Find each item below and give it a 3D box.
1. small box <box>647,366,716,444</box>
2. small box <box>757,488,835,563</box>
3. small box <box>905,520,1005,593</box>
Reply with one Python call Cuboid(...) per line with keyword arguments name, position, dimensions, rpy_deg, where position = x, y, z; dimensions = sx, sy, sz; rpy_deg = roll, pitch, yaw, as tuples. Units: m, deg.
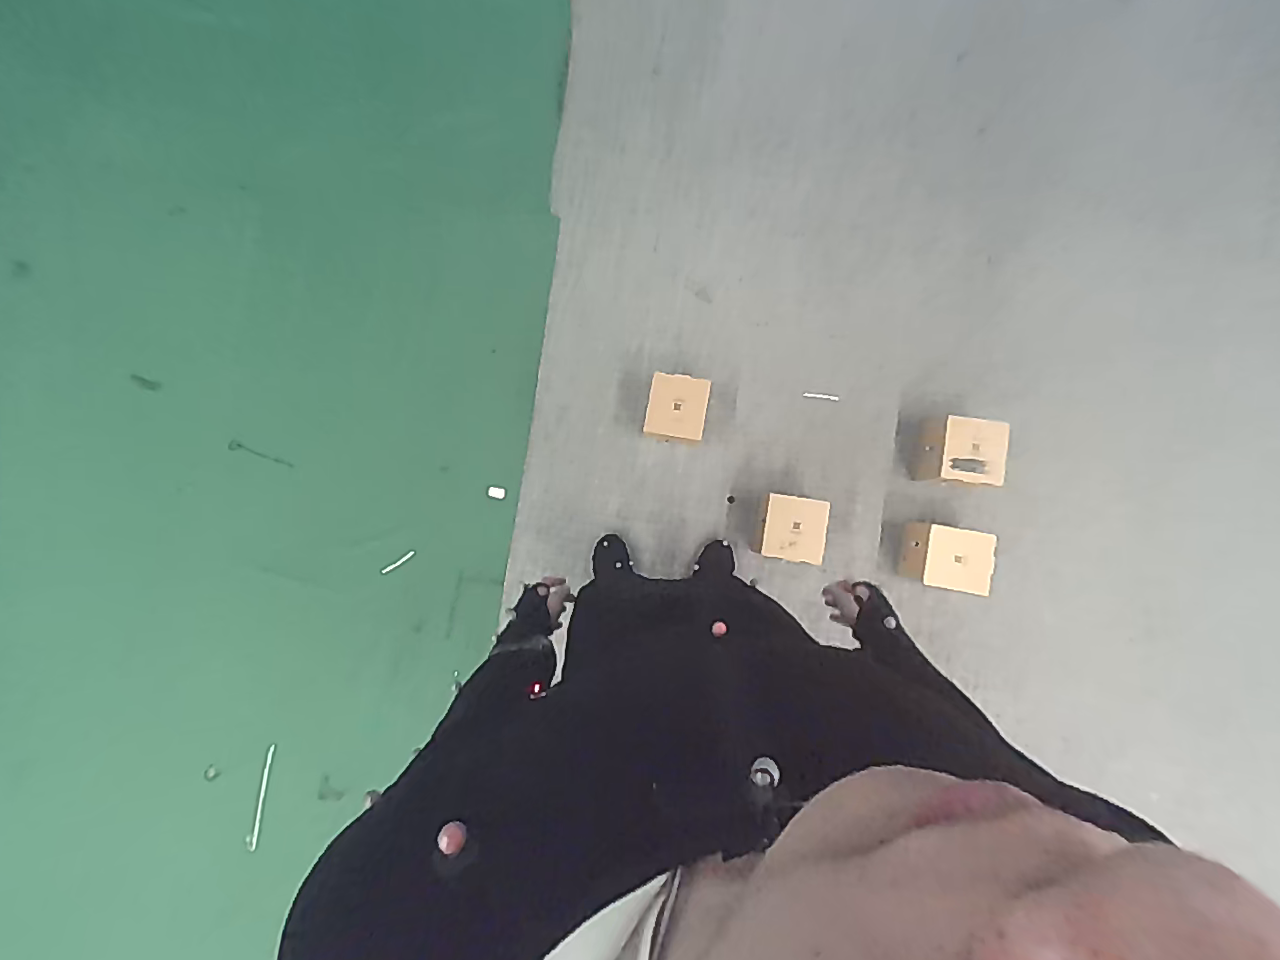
Cuboid(name="small box", position=(0.117, -0.212, 1.564), dimensions=(0.168, 0.176, 0.179), rpy_deg=(10, 88, 5))
Cuboid(name="small box", position=(0.432, 0.127, 1.520), dimensions=(0.168, 0.176, 0.179), rpy_deg=(9, 87, 5))
Cuboid(name="small box", position=(0.859, 0.206, 1.490), dimensions=(0.179, 0.176, 0.168), rpy_deg=(10, 87, 3))
